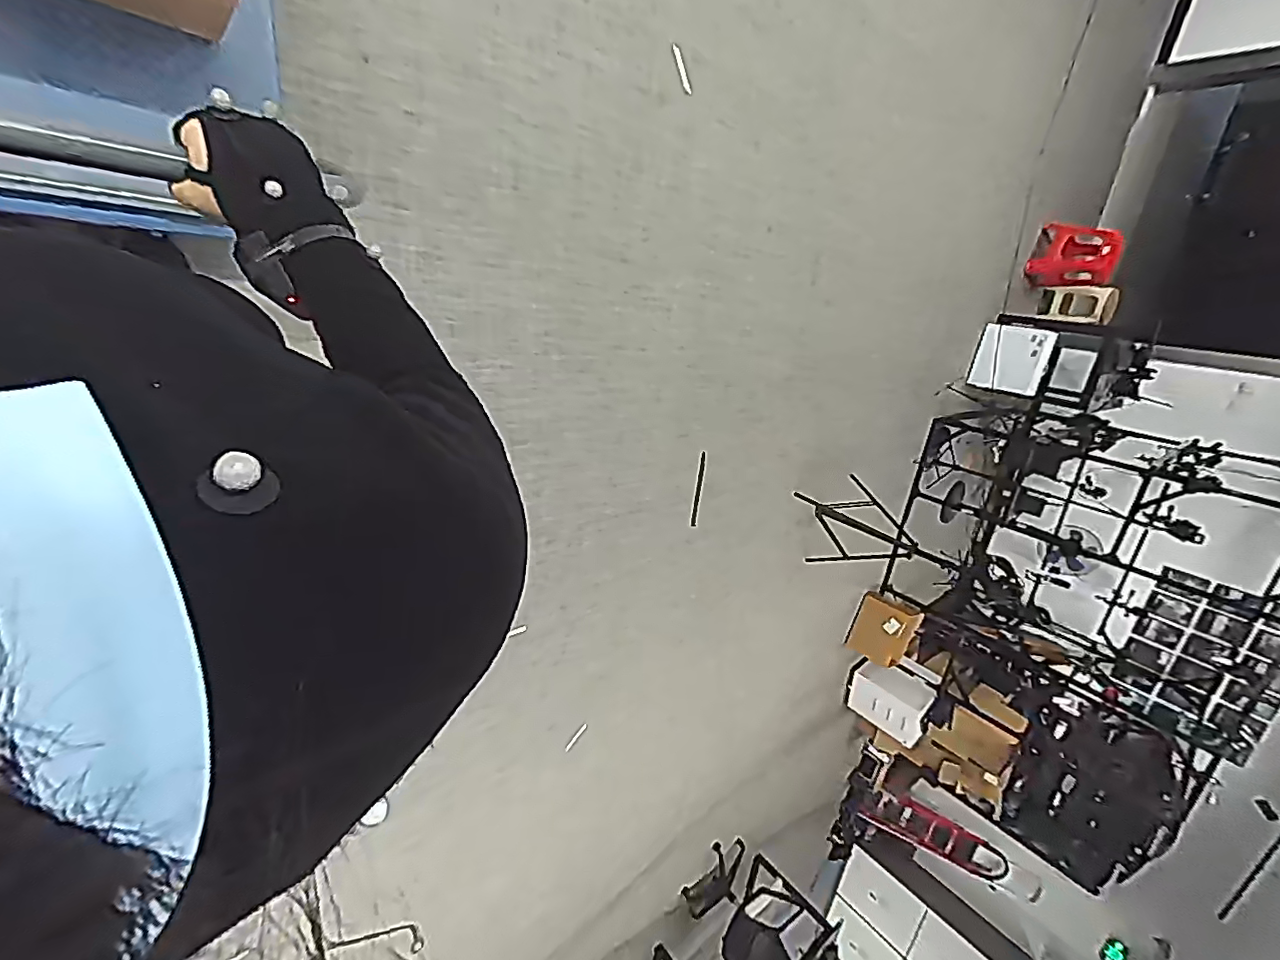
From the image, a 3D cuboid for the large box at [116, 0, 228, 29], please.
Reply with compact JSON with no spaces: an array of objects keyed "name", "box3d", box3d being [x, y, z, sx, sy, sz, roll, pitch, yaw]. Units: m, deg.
[{"name":"large box","box3d":[-0.752,-0.819,0.632,0.408,0.320,0.320,-8,114,-40]}]
